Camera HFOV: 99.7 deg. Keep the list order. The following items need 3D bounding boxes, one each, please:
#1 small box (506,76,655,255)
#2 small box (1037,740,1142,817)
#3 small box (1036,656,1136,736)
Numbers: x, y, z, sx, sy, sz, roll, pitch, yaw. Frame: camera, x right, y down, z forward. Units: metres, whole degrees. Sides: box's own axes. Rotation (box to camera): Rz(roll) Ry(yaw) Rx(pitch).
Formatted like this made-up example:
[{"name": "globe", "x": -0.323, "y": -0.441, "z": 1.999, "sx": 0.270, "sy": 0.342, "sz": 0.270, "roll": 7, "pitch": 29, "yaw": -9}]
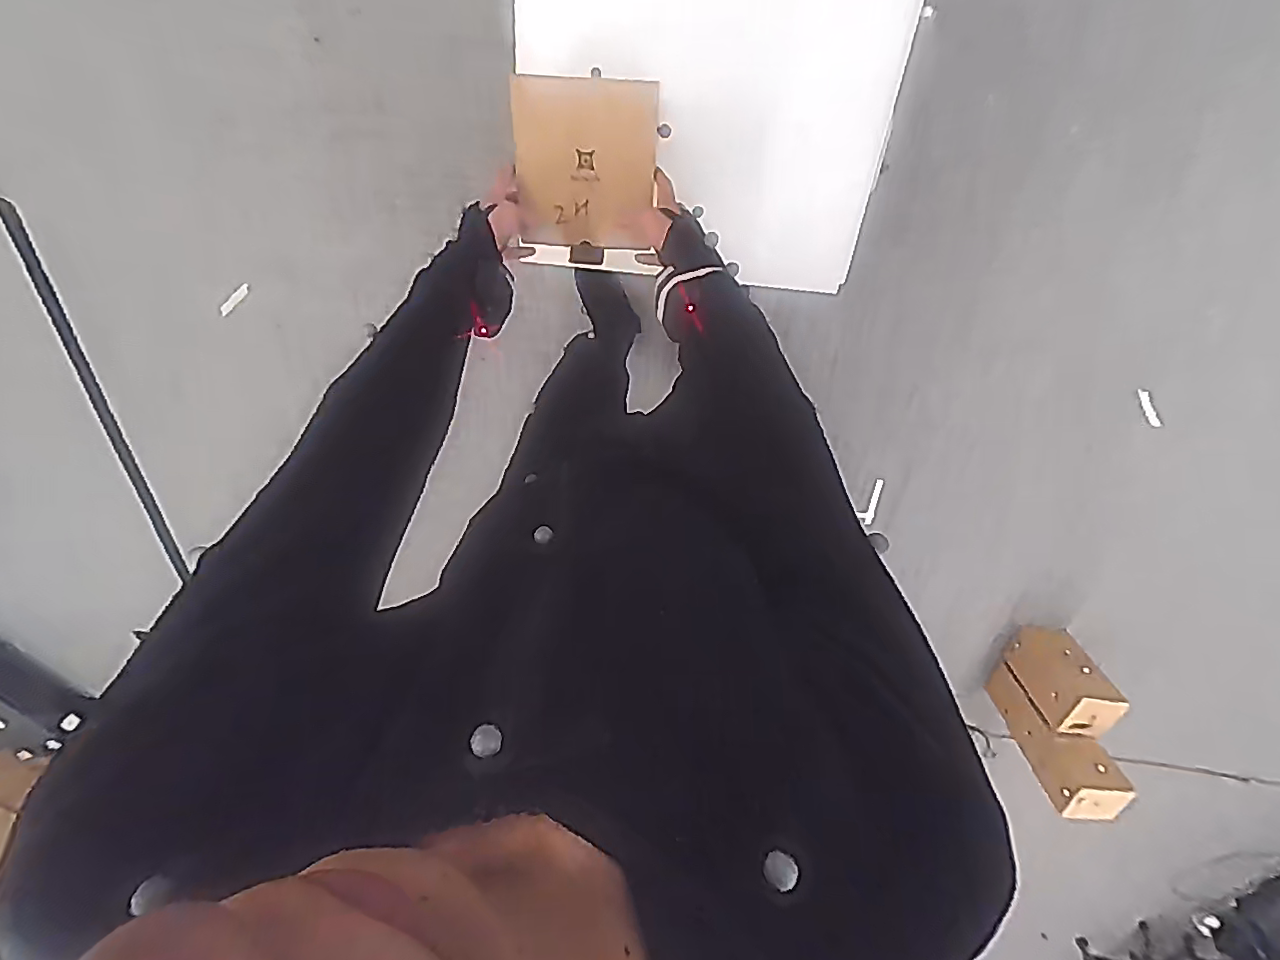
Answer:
[{"name": "small box", "x": -0.068, "y": -0.401, "z": 0.696, "sx": 0.168, "sy": 0.176, "sz": 0.179, "roll": 3, "pitch": 123, "yaw": 0}, {"name": "small box", "x": 1.483, "y": 0.990, "z": 1.796, "sx": 0.179, "sy": 0.176, "sz": 0.168, "roll": 2, "pitch": 121, "yaw": 0}, {"name": "small box", "x": 1.495, "y": 0.730, "z": 1.830, "sx": 0.168, "sy": 0.176, "sz": 0.179, "roll": 8, "pitch": 120, "yaw": -3}]
